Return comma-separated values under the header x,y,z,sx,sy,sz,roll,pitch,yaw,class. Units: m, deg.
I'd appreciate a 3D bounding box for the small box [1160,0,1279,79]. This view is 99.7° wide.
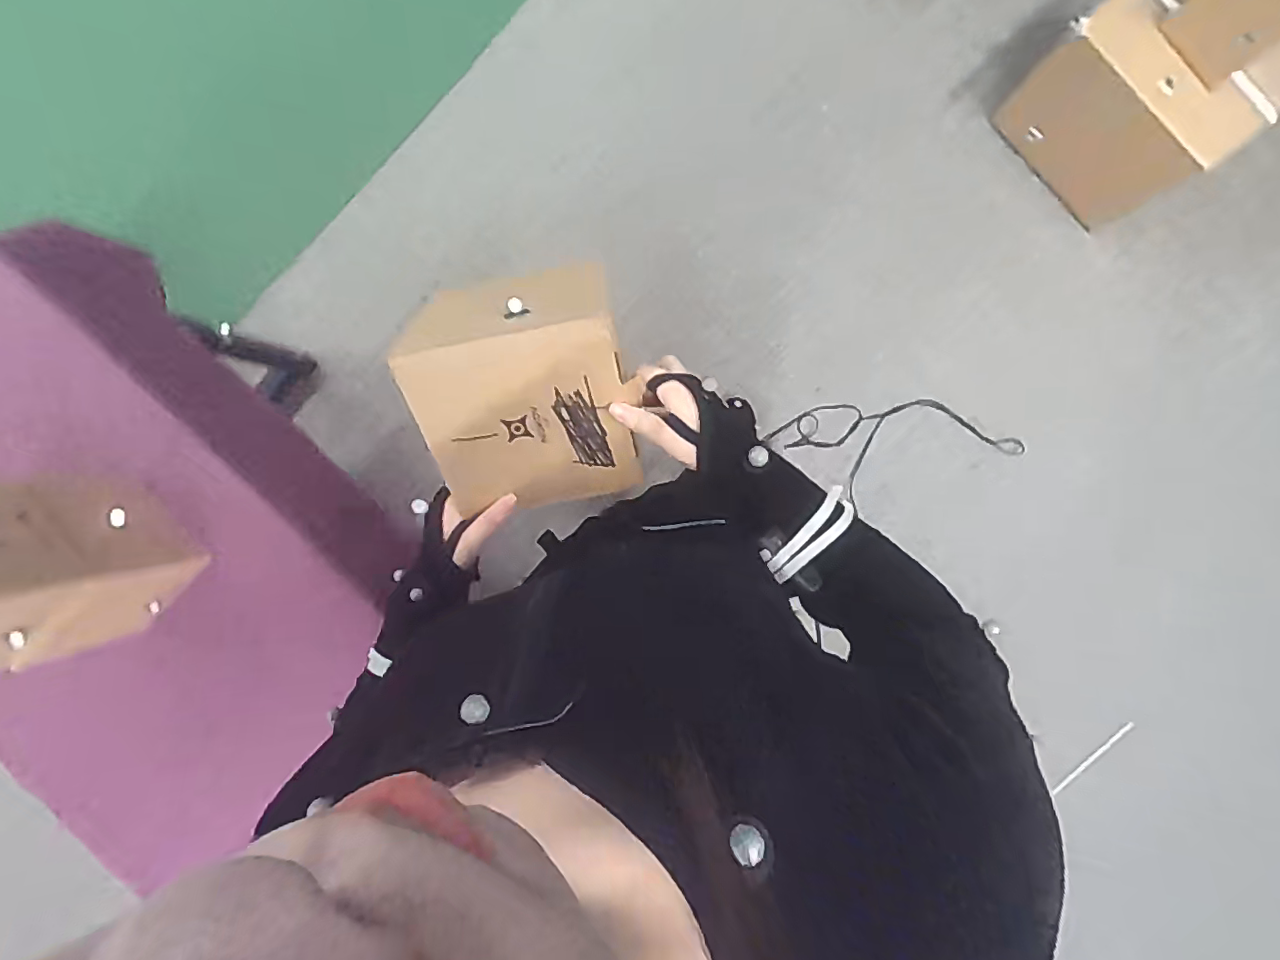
x,y,z,sx,sy,sz,roll,pitch,yaw,class
1.149,-0.897,1.001,0.168,0.176,0.179,-37,89,1,small box

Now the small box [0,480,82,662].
x,y,z,sx,sy,sz,roll,pitch,yaw,class
-0.775,0.112,0.579,0.179,0.176,0.168,-42,89,4,small box
